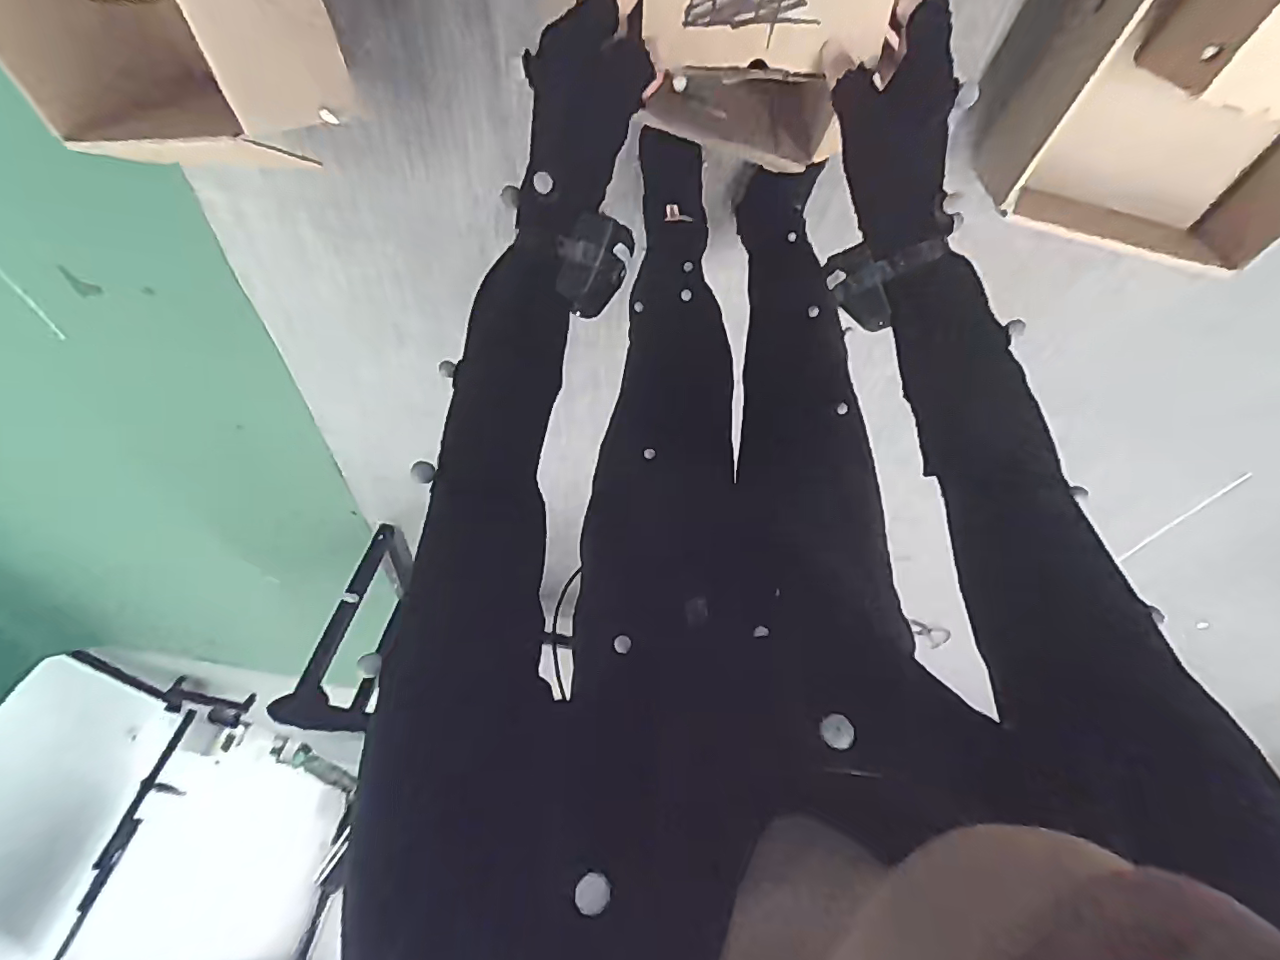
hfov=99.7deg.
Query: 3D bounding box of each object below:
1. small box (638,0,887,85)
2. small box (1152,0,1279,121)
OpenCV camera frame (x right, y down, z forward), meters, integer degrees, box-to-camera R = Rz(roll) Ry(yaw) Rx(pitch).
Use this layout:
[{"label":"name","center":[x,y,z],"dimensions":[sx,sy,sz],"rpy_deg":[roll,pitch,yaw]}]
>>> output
[{"label":"small box","center":[0.090,-0.405,0.396],"dimensions":[0.168,0.176,0.179],"rpy_deg":[4,127,0]},{"label":"small box","center":[0.771,-0.544,0.628],"dimensions":[0.168,0.176,0.179],"rpy_deg":[12,140,-3]}]
